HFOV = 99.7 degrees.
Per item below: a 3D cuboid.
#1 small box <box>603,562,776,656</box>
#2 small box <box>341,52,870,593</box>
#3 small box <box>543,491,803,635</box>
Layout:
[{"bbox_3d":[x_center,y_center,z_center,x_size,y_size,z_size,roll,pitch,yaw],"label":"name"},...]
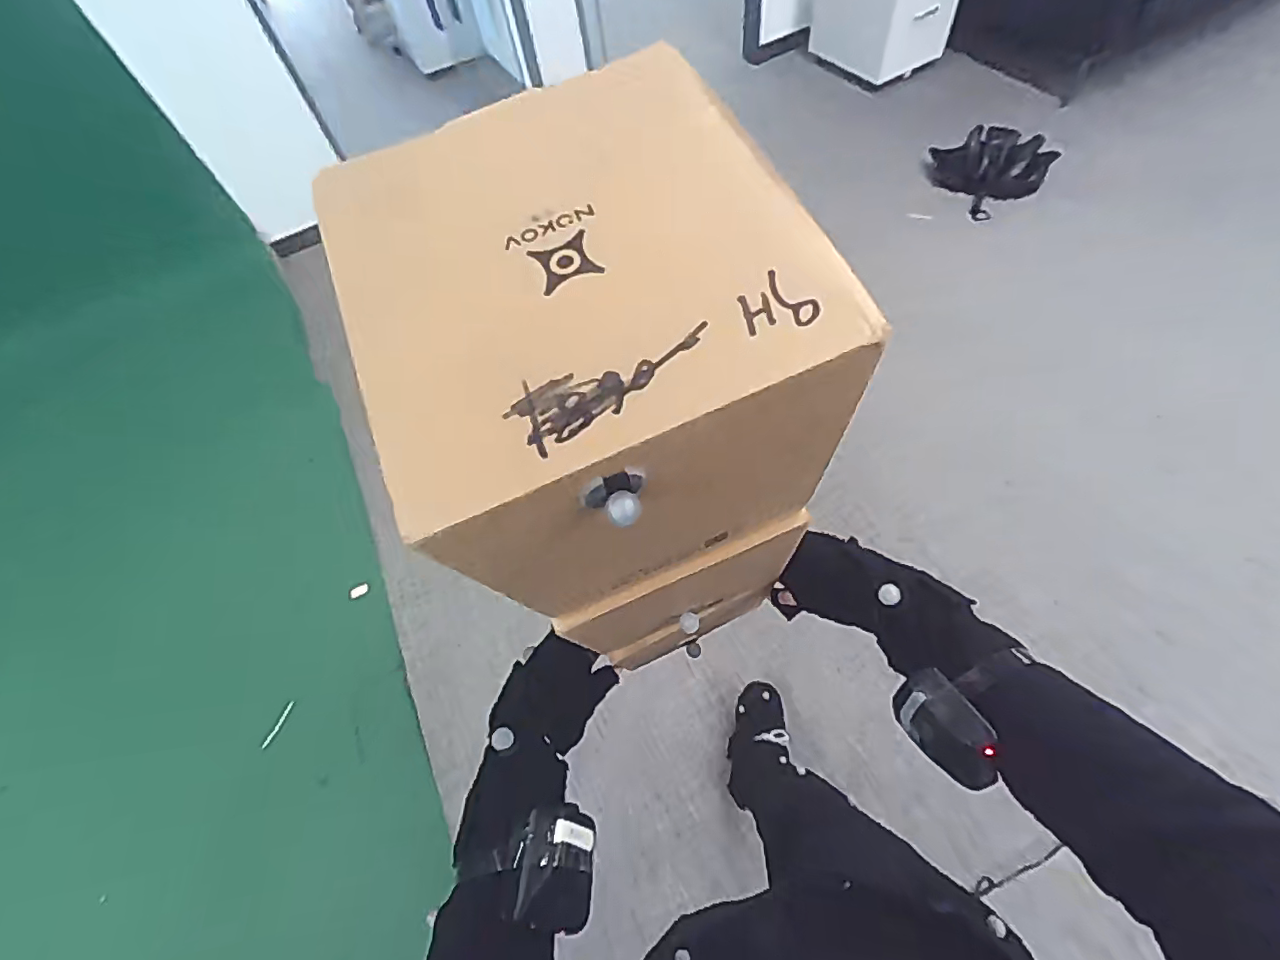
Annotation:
[{"bbox_3d":[0.021,0.071,0.581,0.168,0.176,0.179,-26,69,-4],"label":"small box"},{"bbox_3d":[-0.018,-0.062,0.283,0.168,0.176,0.179,-23,66,-1],"label":"small box"},{"bbox_3d":[0.003,0.006,0.430,0.168,0.176,0.179,-23,68,-2],"label":"small box"}]
